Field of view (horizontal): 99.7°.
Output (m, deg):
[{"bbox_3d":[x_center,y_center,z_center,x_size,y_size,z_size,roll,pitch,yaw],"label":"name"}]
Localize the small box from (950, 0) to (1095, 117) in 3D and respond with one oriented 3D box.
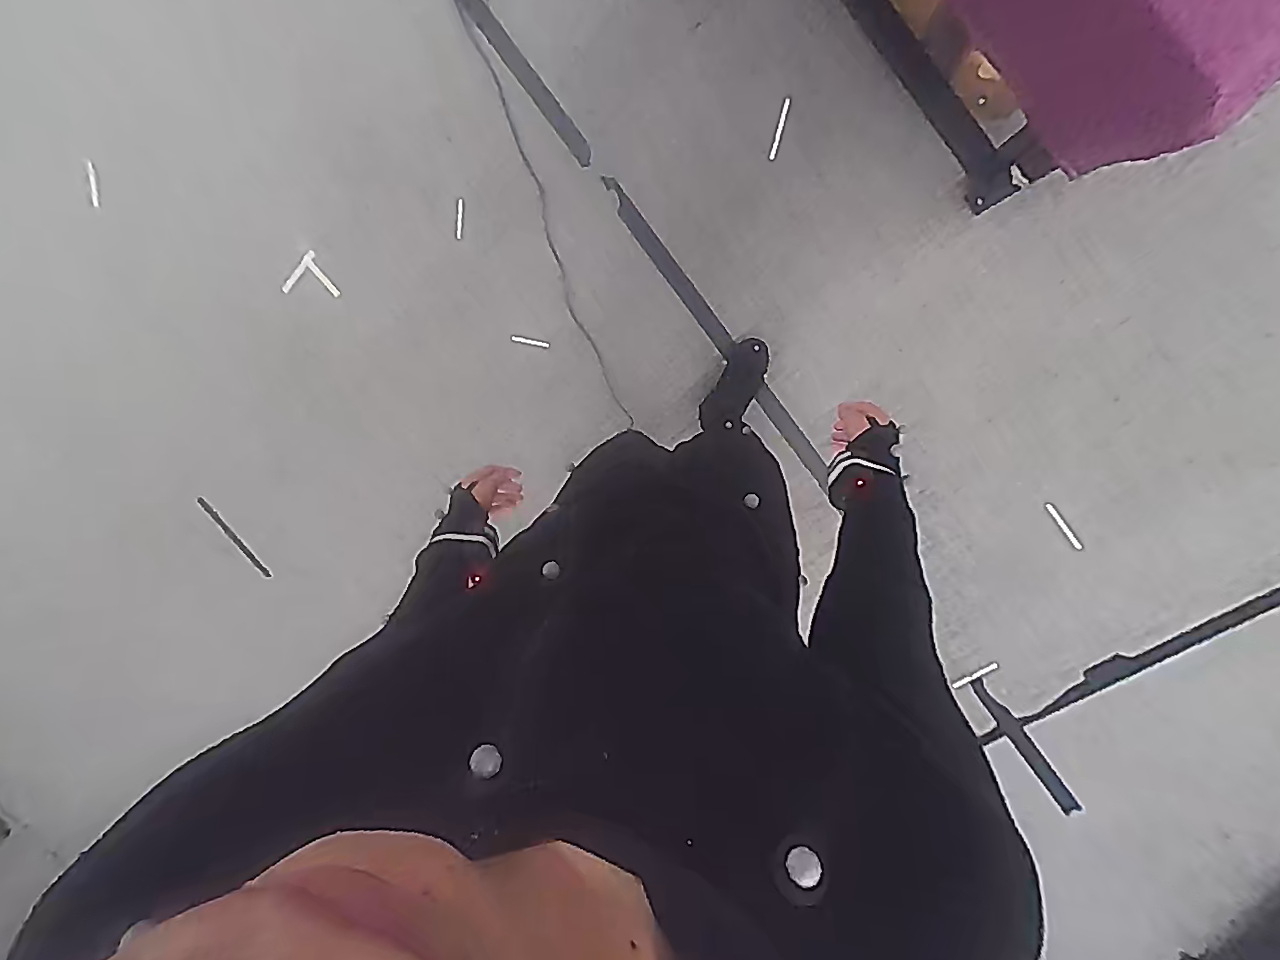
[{"bbox_3d":[0.799,-0.922,1.150,0.168,0.176,0.179,24,107,6],"label":"small box"}]
